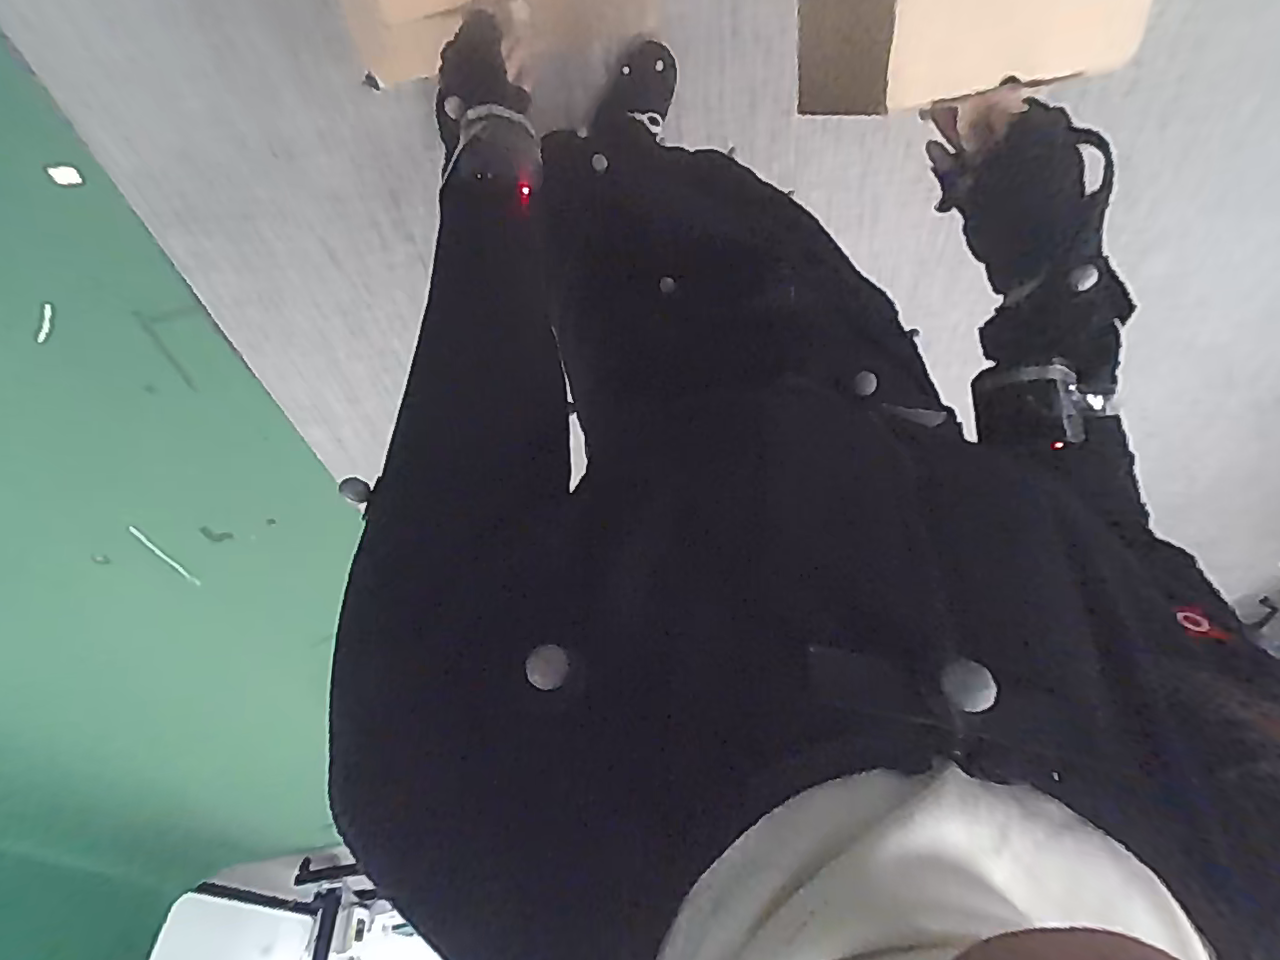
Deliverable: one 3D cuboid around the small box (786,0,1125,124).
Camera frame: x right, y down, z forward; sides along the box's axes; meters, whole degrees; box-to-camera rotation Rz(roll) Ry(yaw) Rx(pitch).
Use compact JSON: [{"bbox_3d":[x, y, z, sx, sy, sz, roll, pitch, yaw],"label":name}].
[{"bbox_3d":[0.208,-0.371,0.378,0.168,0.176,0.179,-12,125,1],"label":"small box"}]
